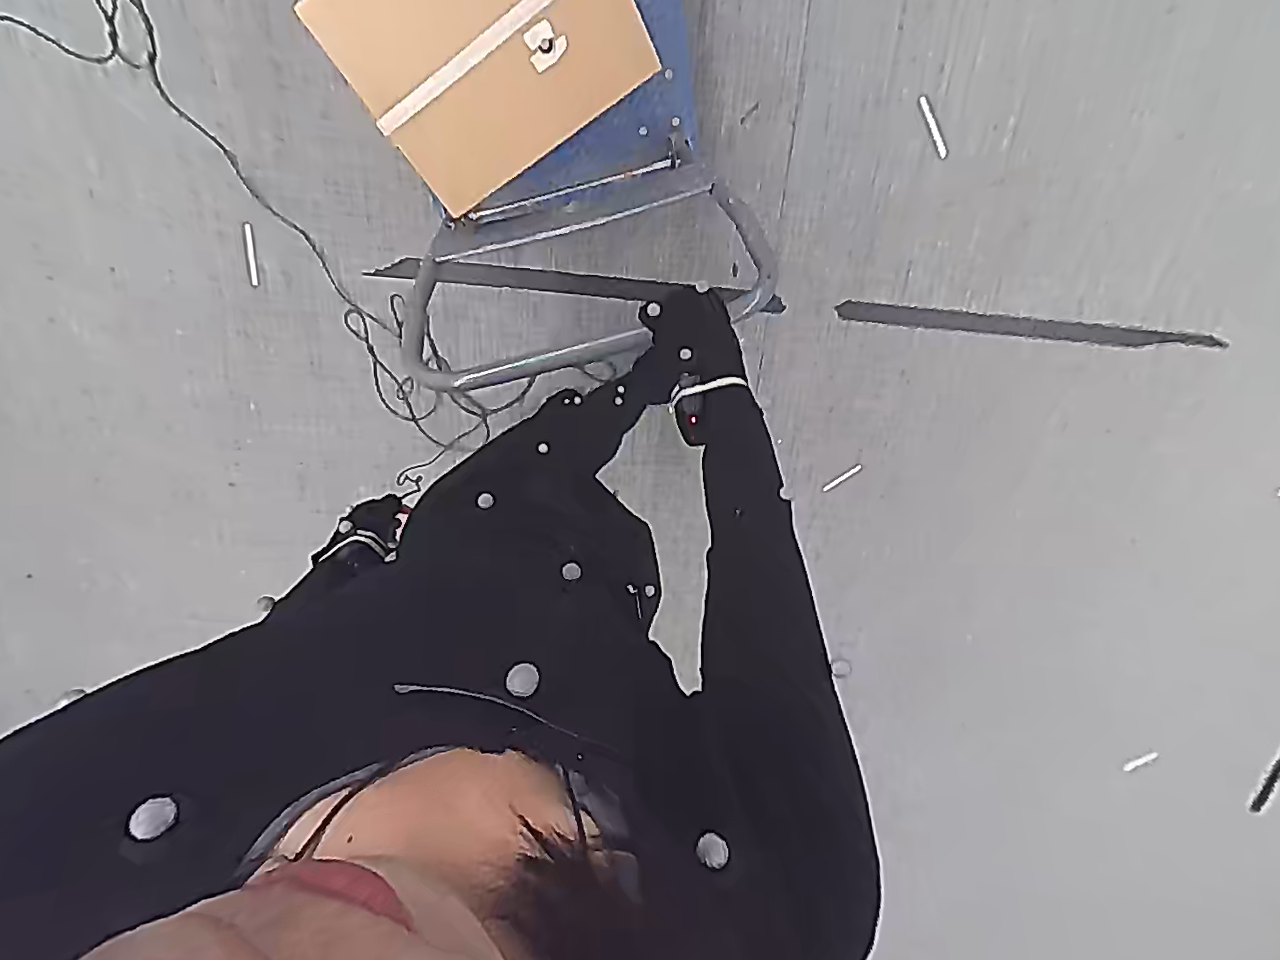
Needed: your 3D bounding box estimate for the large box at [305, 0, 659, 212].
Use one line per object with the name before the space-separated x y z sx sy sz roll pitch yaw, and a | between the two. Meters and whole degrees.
large box | -0.232 -0.723 0.885 0.408 0.320 0.320 -29 128 13
